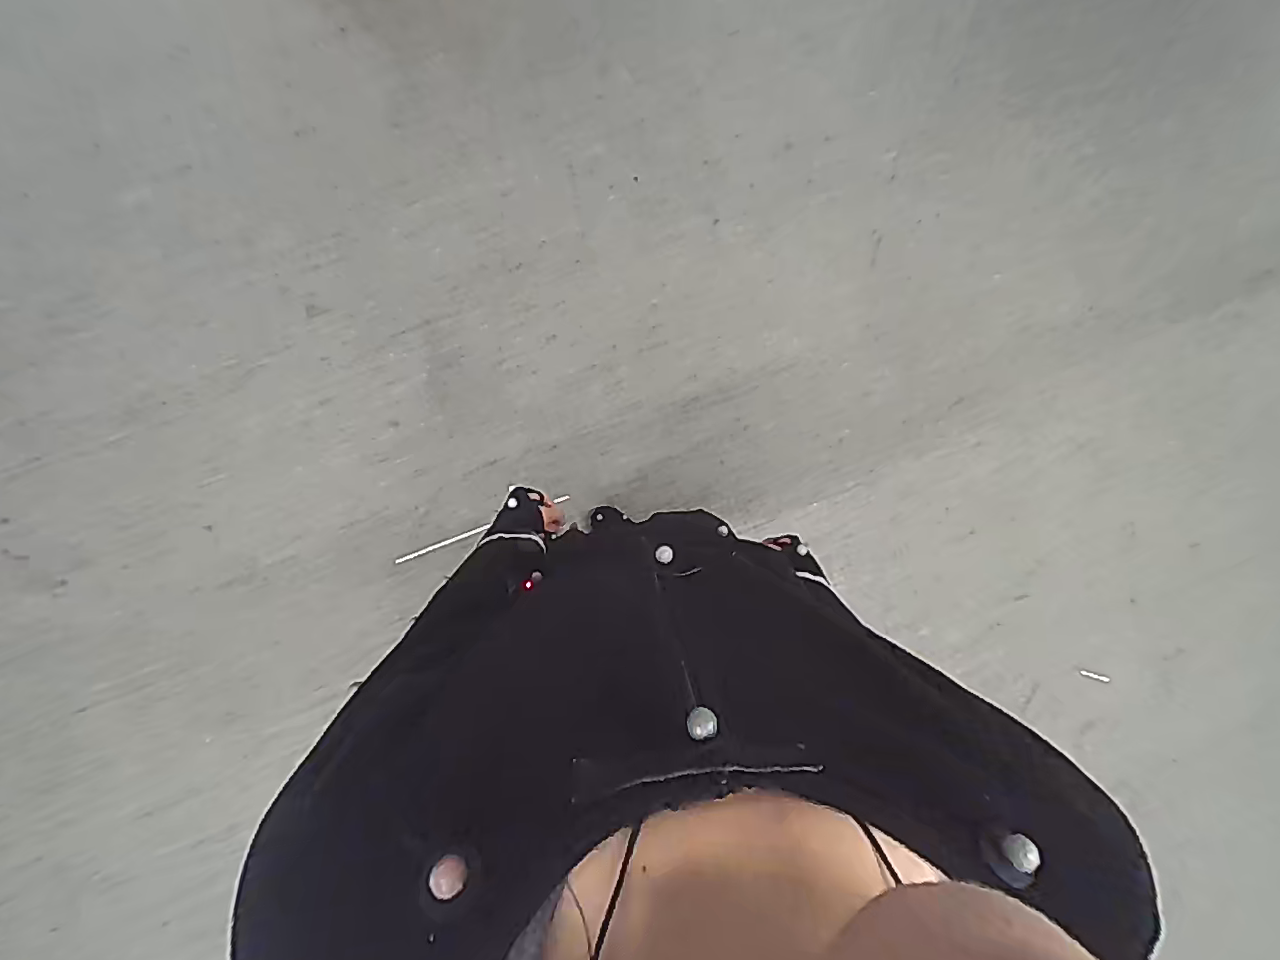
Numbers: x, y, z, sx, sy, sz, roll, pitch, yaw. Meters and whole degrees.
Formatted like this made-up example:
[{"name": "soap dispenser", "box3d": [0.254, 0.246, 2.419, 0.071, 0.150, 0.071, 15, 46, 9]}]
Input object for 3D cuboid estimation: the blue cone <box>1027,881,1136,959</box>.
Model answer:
[{"name": "blue cone", "box3d": [1.228, 1.254, 1.391, 0.192, 0.380, 0.193, 23, 84, -3]}]
